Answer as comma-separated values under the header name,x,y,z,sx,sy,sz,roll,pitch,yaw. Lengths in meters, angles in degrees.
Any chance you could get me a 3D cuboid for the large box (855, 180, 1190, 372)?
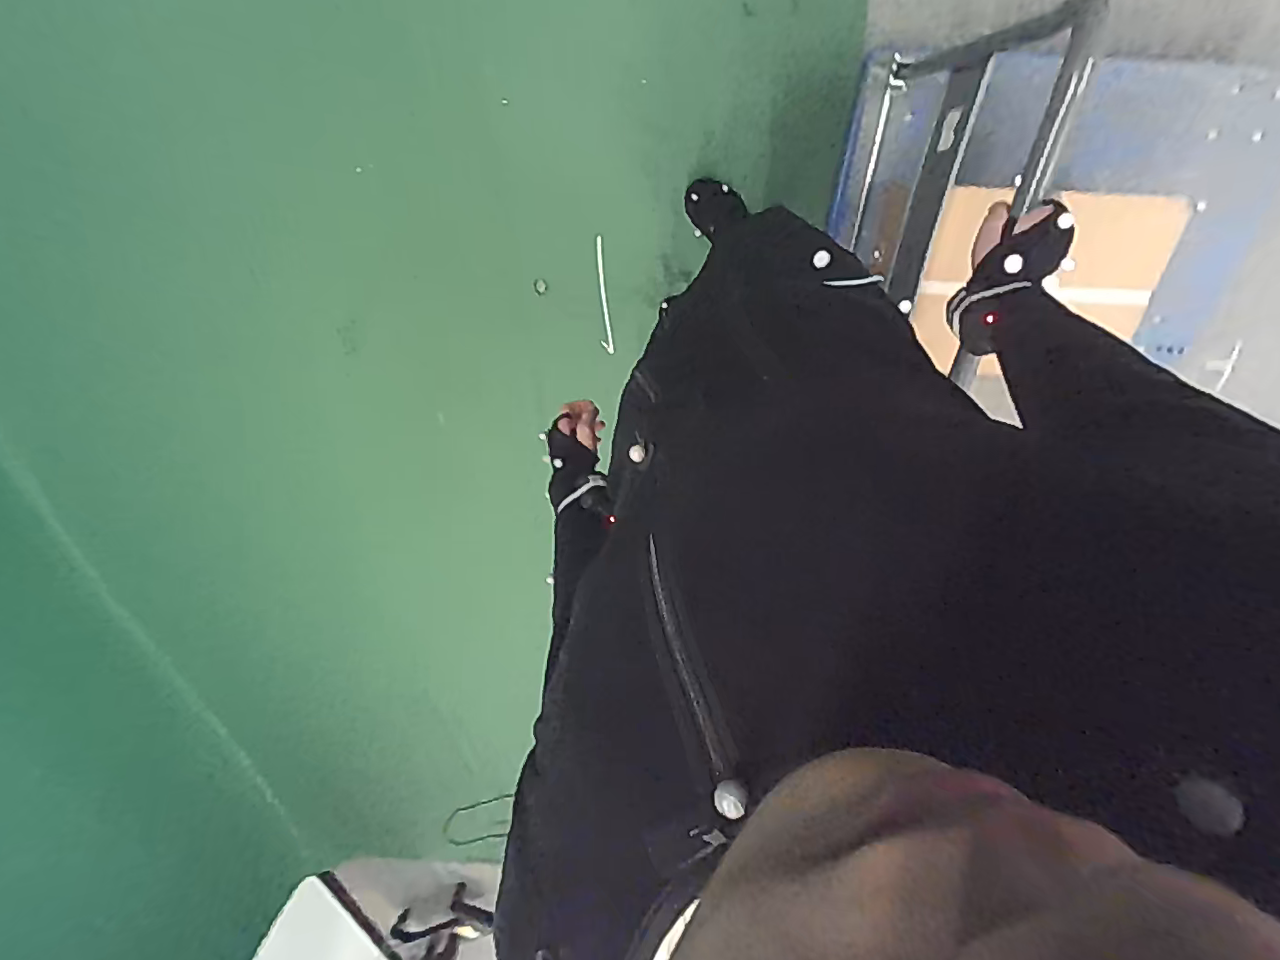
name,x,y,z,sx,sy,sz,roll,pitch,yaw
large box,0.696,-0.421,1.083,0.408,0.320,0.320,4,121,4
